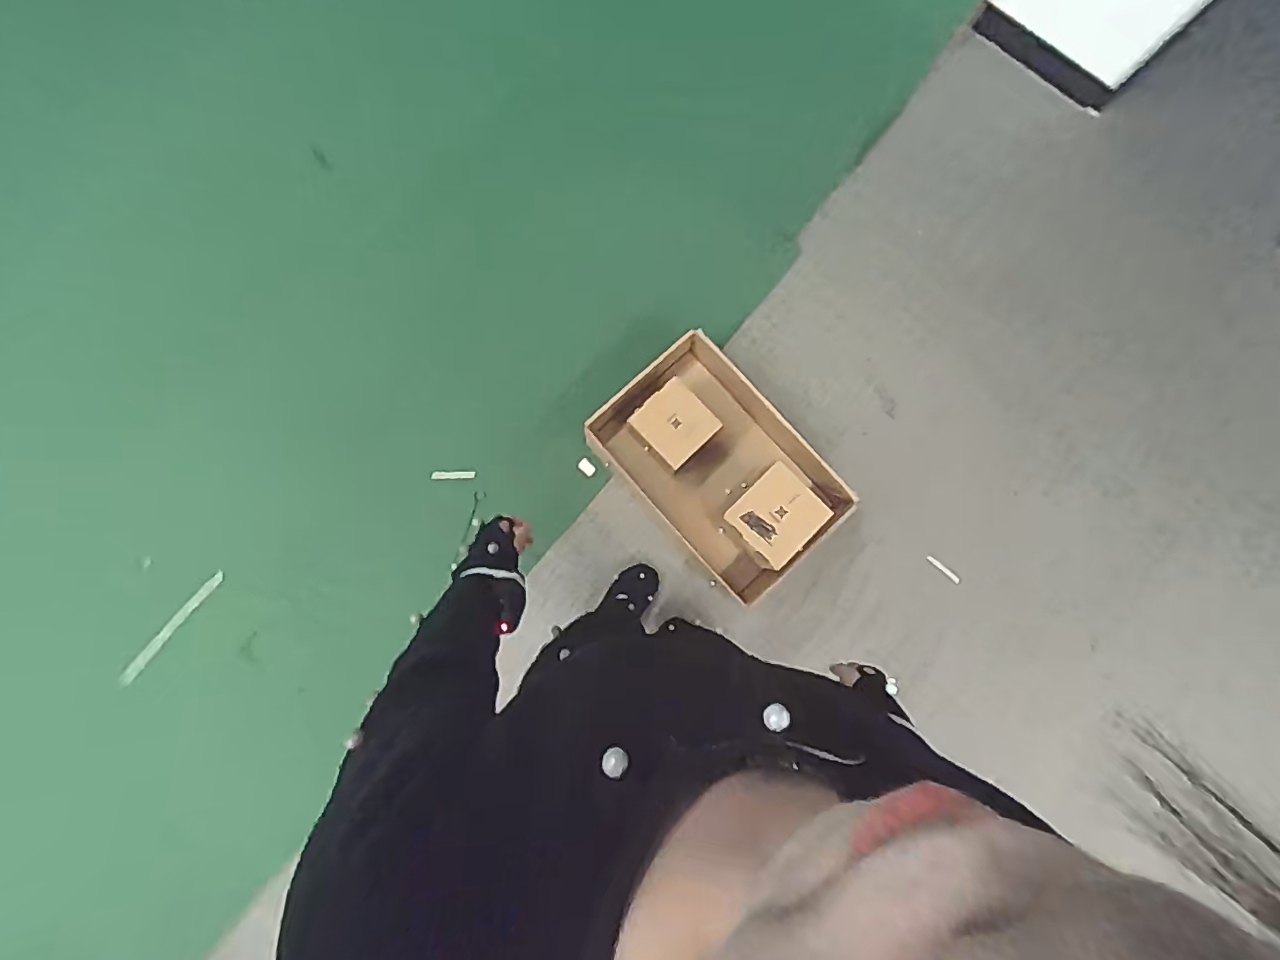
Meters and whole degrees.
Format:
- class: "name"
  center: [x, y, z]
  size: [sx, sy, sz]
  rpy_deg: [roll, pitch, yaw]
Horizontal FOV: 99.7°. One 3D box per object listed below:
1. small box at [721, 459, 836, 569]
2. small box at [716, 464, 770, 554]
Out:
- class: "small box"
  center: [0.299, 0.080, 1.217]
  size: [0.179, 0.176, 0.168]
  rpy_deg: [-44, 85, -4]
- class: "small box"
  center: [0.309, 0.085, 1.381]
  size: [0.168, 0.176, 0.179]
  rpy_deg: [44, 87, 4]
